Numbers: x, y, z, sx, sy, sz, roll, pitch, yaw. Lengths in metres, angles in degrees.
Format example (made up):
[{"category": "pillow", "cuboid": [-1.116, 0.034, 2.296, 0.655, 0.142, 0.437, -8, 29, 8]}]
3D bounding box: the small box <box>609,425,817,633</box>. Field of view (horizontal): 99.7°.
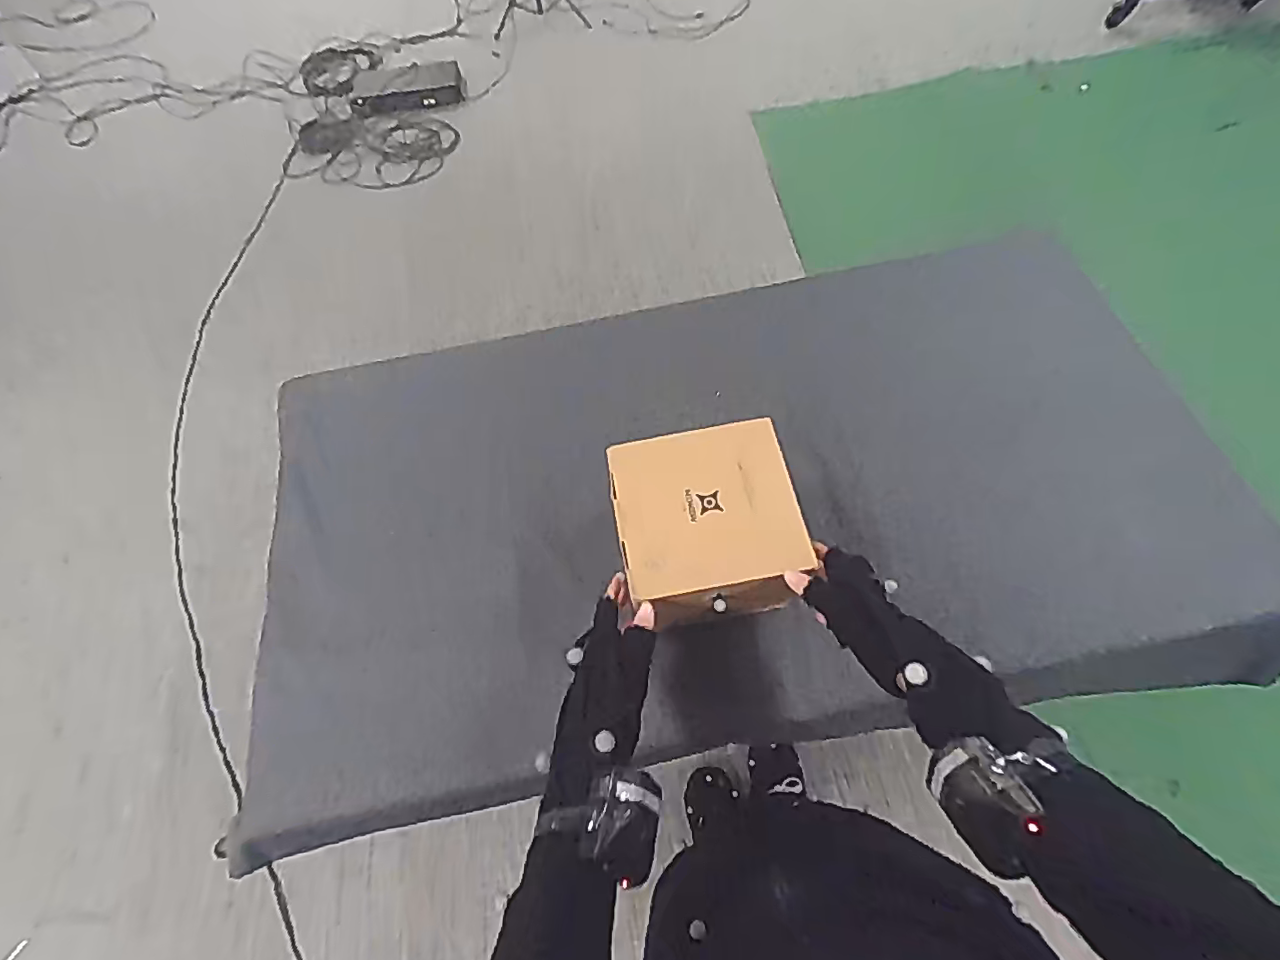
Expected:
[{"category": "small box", "cuboid": [0.071, 0.063, 0.602, 0.179, 0.176, 0.168, -11, 66, -3]}]
